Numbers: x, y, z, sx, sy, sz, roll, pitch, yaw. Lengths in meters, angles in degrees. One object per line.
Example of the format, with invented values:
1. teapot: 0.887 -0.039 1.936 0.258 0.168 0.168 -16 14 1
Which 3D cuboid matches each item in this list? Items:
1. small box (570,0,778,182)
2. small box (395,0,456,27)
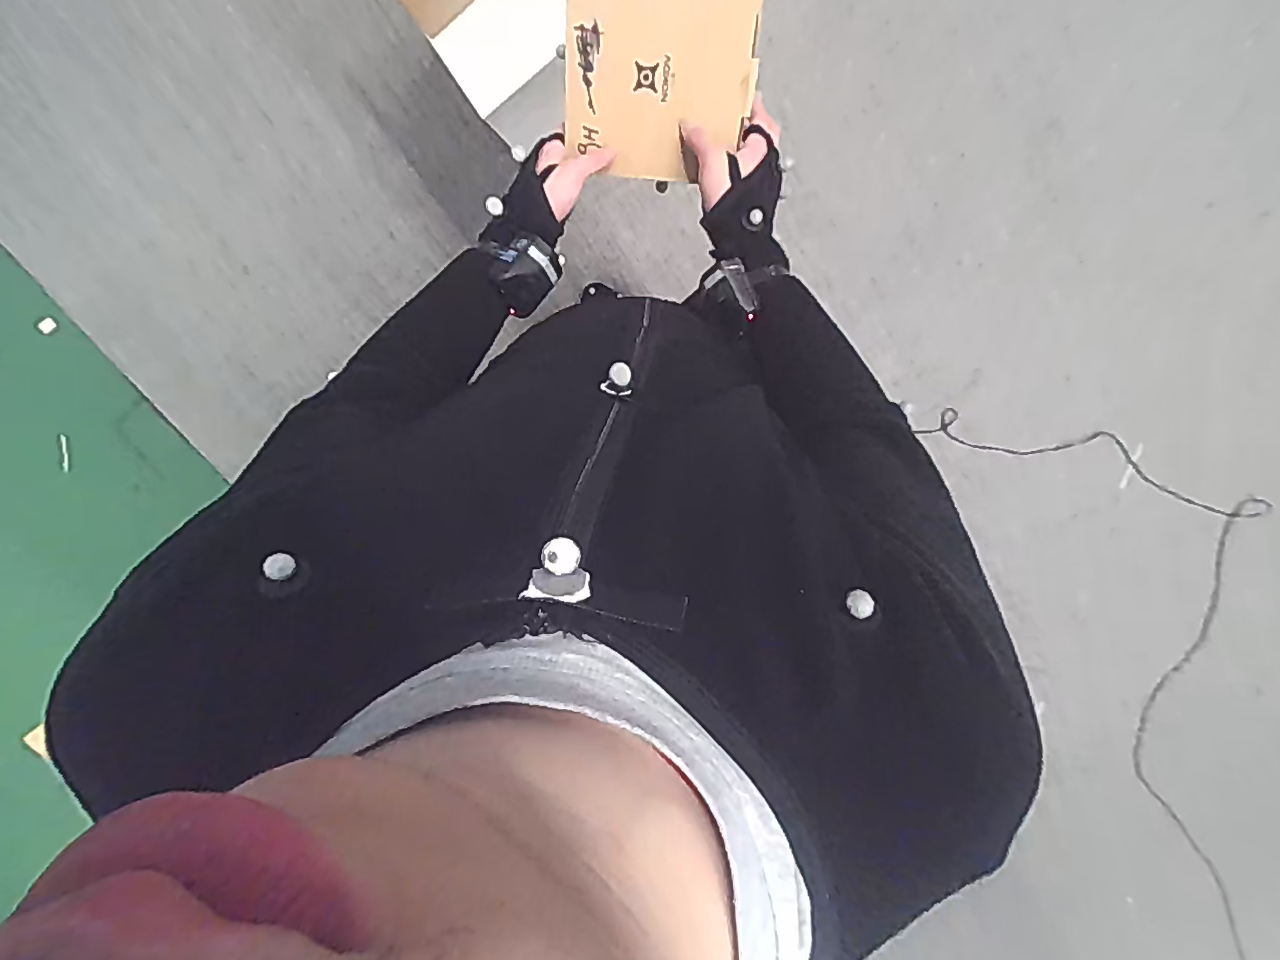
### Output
1. small box: 0.031 -0.411 0.552 0.179 0.176 0.168 7 121 2
2. small box: -0.270 -0.688 0.618 0.179 0.176 0.168 -35 105 10
